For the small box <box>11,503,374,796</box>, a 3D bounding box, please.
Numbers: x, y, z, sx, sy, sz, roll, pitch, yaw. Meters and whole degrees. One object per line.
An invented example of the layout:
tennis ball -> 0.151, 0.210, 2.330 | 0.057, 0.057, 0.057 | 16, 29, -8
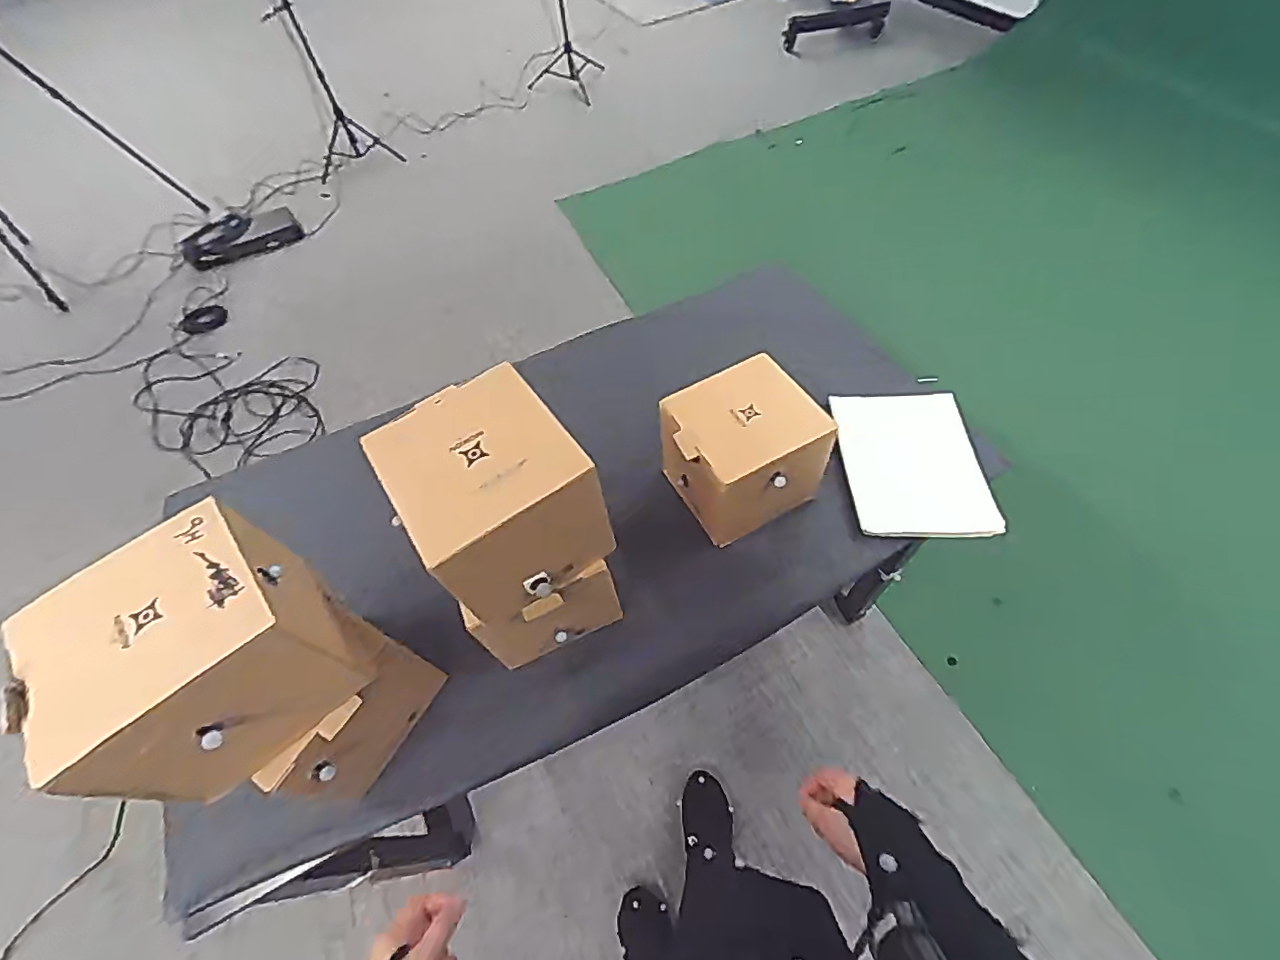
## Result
small box -> -0.391, 0.161, 0.499 | 0.179, 0.176, 0.168 | -39, 62, -18

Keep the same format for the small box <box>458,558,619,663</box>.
small box -> -0.140, 0.109, 0.705 | 0.168, 0.176, 0.179 | -24, 58, -9

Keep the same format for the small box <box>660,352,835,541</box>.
small box -> 0.144, -0.044, 0.778 | 0.179, 0.176, 0.168 | -27, 58, -11

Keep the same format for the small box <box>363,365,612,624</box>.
small box -> -0.149, 0.020, 0.570 | 0.168, 0.176, 0.179 | -34, 60, -15
